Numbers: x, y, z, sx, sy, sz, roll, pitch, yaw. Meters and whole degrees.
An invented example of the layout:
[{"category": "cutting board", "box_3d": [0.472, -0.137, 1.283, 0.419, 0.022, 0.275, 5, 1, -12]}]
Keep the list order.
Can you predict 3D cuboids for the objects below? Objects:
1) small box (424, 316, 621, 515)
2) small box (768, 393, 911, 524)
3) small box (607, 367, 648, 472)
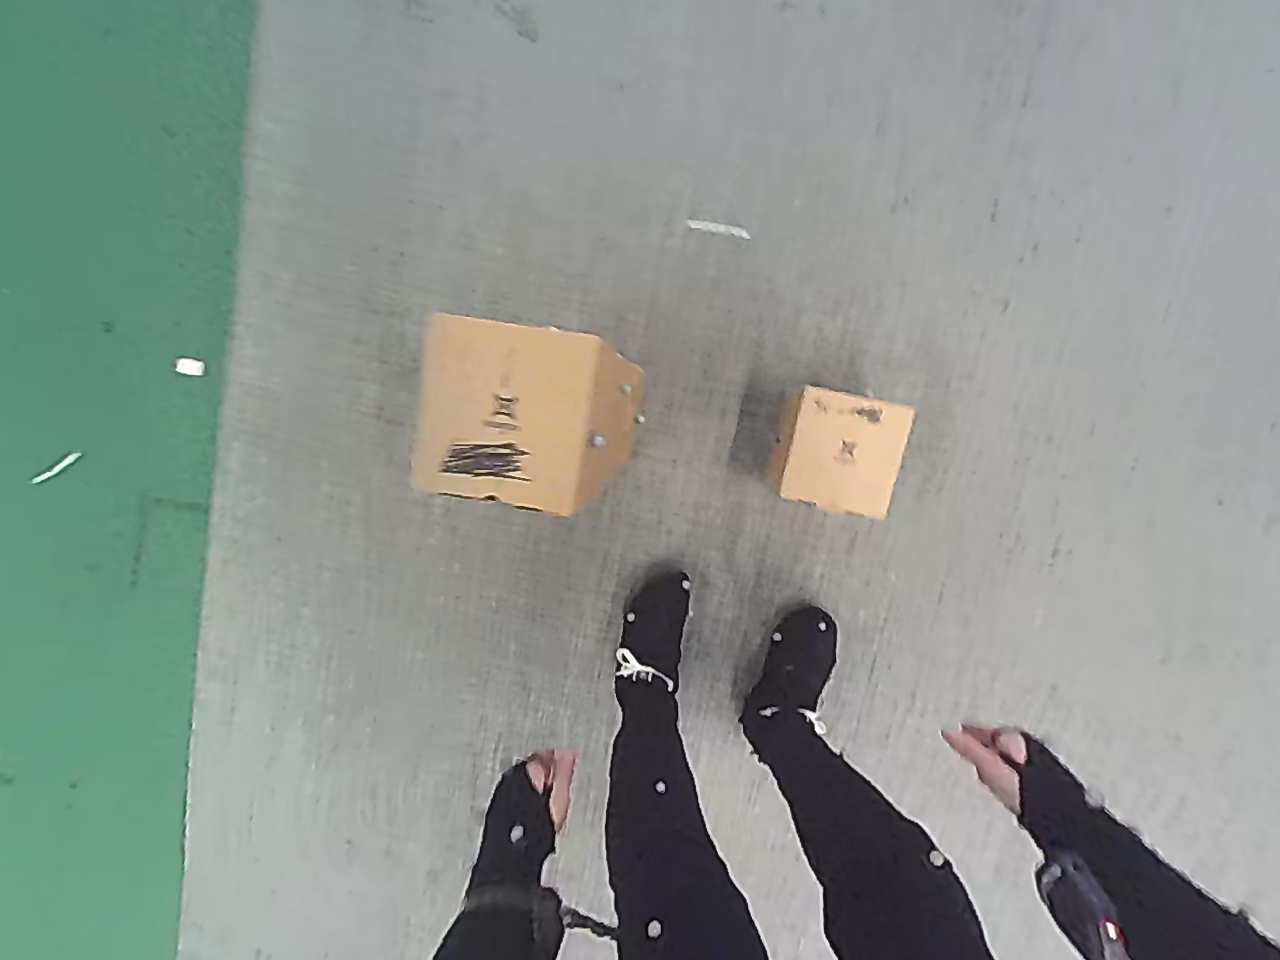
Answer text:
[{"category": "small box", "box_3d": [-0.120, -0.071, 0.616, 0.168, 0.176, 0.179, 10, 96, 4]}, {"category": "small box", "box_3d": [0.321, -0.042, 0.911, 0.168, 0.176, 0.179, 13, 97, 3]}, {"category": "small box", "box_3d": [-0.089, -0.115, 0.941, 0.179, 0.176, 0.168, 11, 97, 2]}]
